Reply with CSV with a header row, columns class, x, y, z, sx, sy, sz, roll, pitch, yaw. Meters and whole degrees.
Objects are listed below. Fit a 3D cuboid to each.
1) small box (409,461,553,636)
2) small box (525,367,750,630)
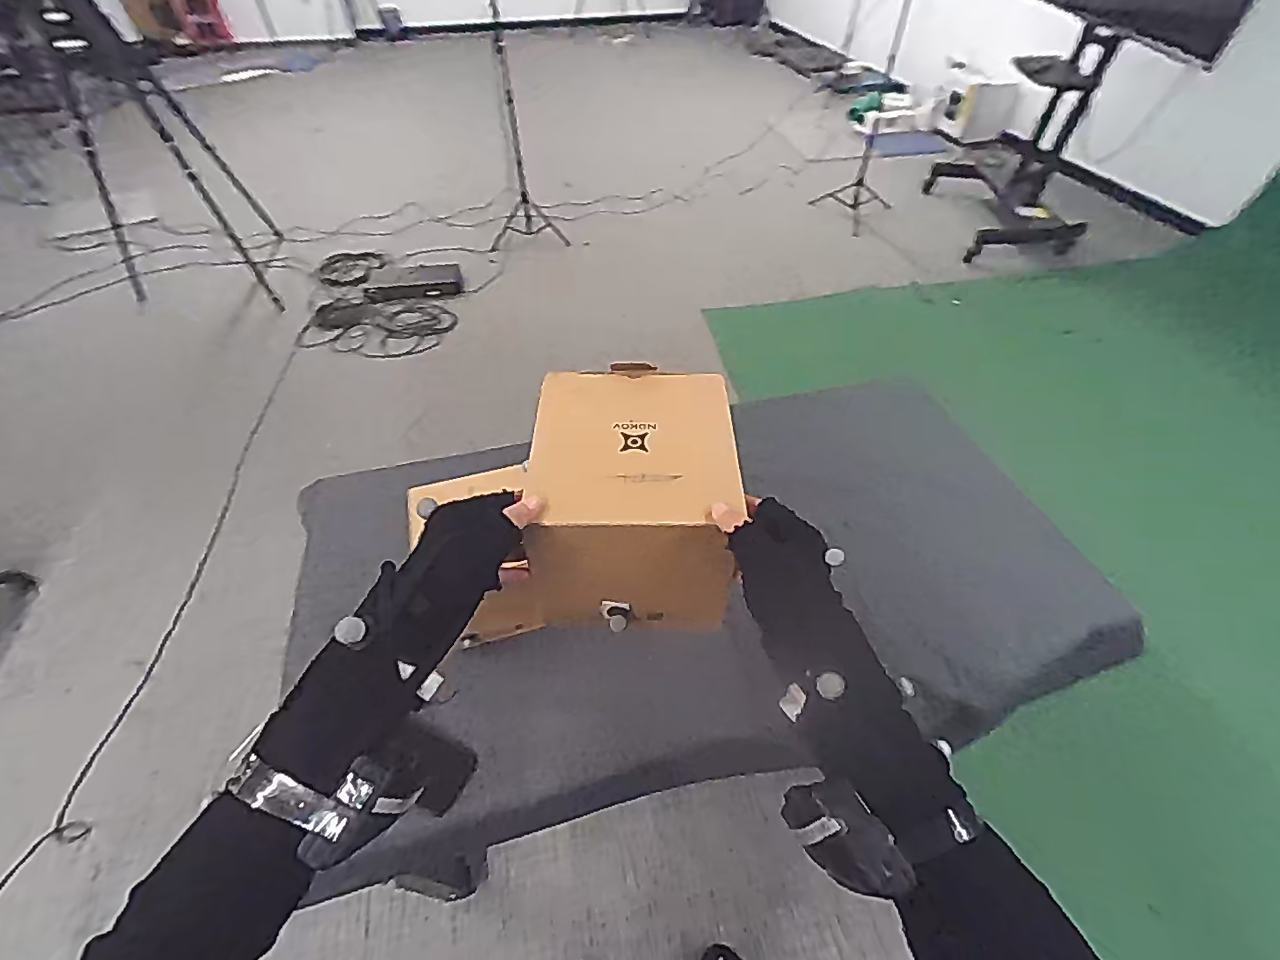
class,x,y,z,sx,sy,sz,roll,pitch,yaw
small box,-0.221,0.104,0.779,0.168,0.176,0.179,-13,49,-12
small box,-0.003,0.018,0.501,0.168,0.176,0.179,2,48,-1
